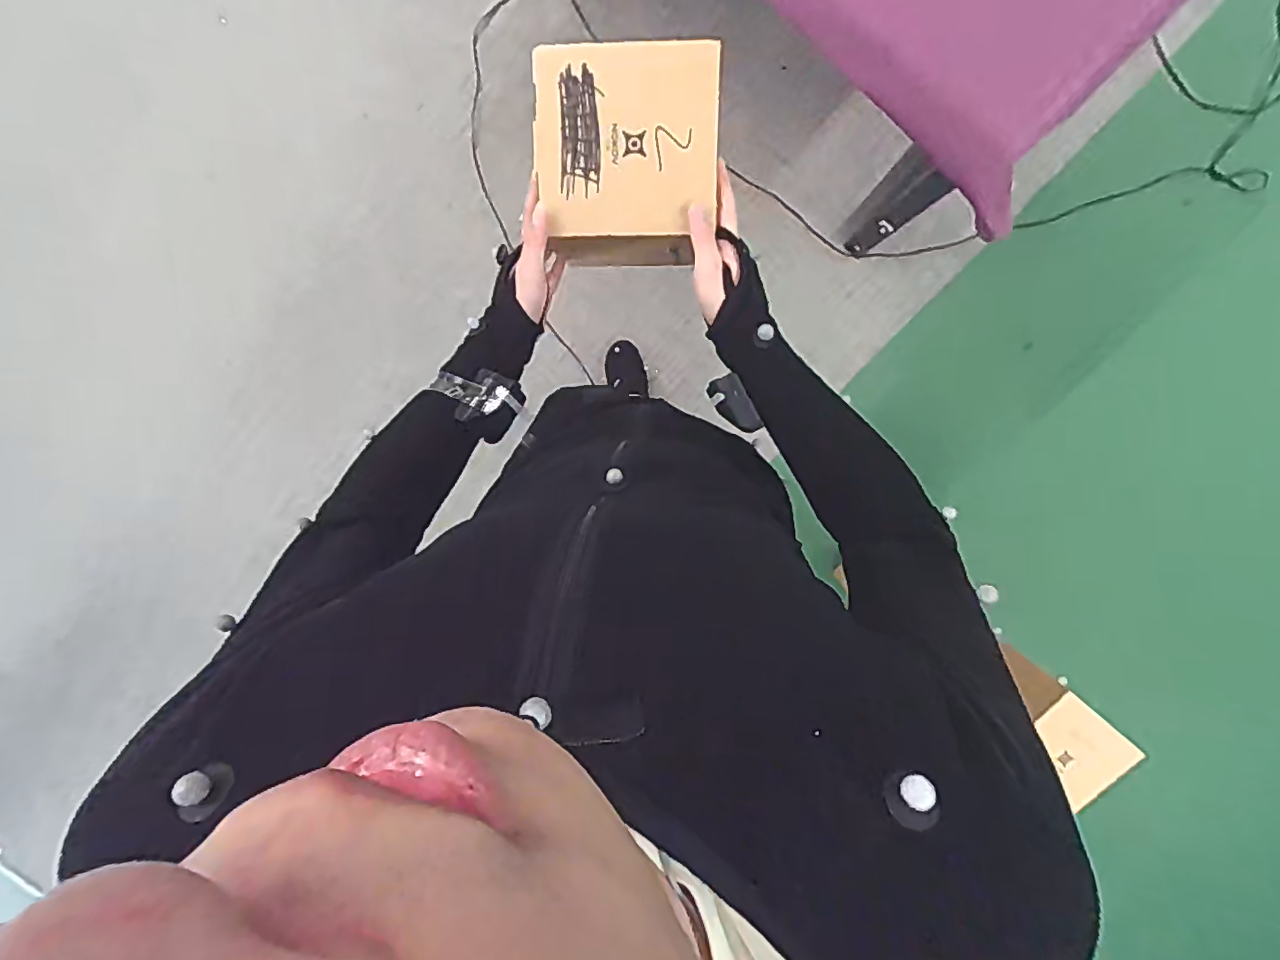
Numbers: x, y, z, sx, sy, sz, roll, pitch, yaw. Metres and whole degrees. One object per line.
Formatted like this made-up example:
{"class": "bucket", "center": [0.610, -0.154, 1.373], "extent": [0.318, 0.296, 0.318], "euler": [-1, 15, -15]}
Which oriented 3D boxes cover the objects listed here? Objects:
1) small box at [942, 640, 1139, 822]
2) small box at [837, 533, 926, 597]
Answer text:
{"class": "small box", "center": [0.646, 0.408, 0.905], "extent": [0.168, 0.176, 0.179], "euler": [40, 100, -5]}
{"class": "small box", "center": [0.689, 0.282, 1.544], "extent": [0.168, 0.176, 0.179], "euler": [42, 101, -4]}
